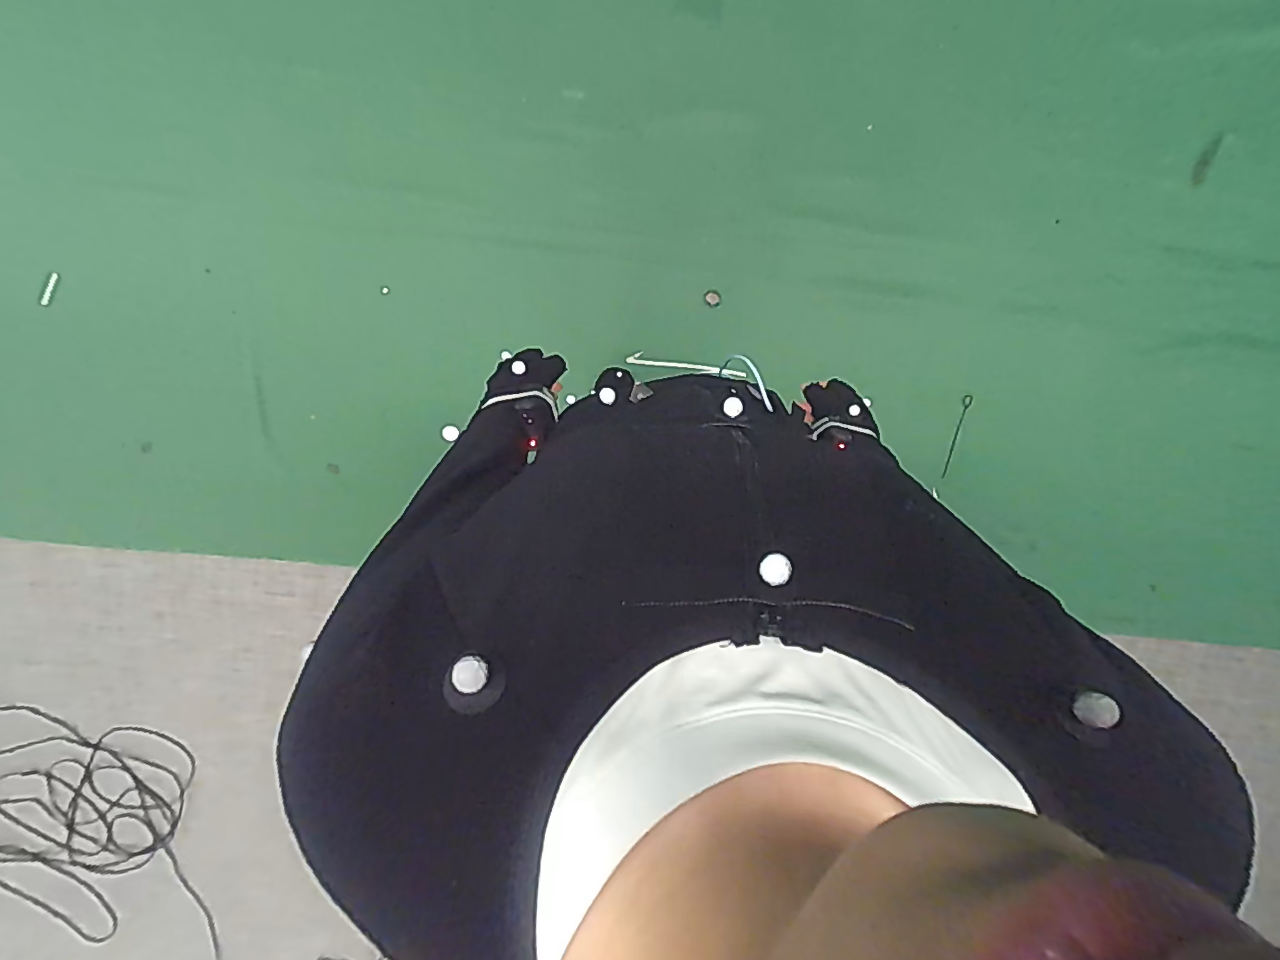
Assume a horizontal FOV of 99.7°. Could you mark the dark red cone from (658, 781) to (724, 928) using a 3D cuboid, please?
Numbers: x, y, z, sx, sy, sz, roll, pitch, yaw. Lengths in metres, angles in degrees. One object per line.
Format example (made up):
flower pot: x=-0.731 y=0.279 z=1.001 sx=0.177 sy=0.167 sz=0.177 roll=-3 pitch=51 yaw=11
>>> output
dark red cone: x=0.160 y=1.052 z=1.517 sx=0.202 sy=0.394 sz=0.201 roll=0 pitch=101 yaw=-1
